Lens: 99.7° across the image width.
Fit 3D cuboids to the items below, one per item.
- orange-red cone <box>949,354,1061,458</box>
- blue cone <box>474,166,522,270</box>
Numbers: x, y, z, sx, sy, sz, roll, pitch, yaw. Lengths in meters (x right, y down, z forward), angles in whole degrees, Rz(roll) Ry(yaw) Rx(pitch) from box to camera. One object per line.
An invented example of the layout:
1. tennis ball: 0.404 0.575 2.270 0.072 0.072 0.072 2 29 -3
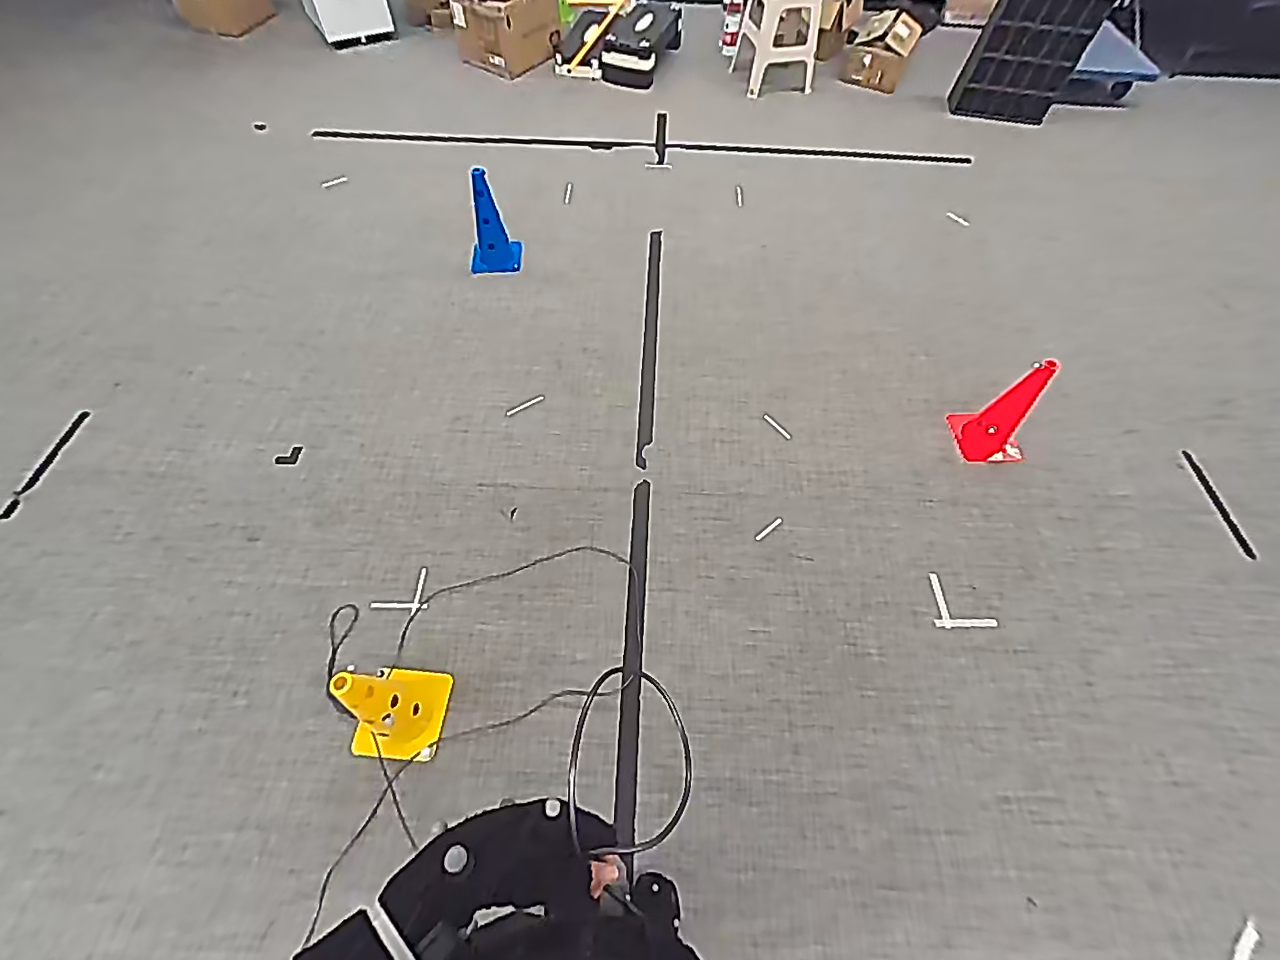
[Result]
1. orange-red cone: 1.160 -0.249 1.667 0.198 0.360 0.199 -1 57 -3
2. blue cone: -0.584 -1.022 2.105 0.192 0.380 0.193 -2 58 -3
